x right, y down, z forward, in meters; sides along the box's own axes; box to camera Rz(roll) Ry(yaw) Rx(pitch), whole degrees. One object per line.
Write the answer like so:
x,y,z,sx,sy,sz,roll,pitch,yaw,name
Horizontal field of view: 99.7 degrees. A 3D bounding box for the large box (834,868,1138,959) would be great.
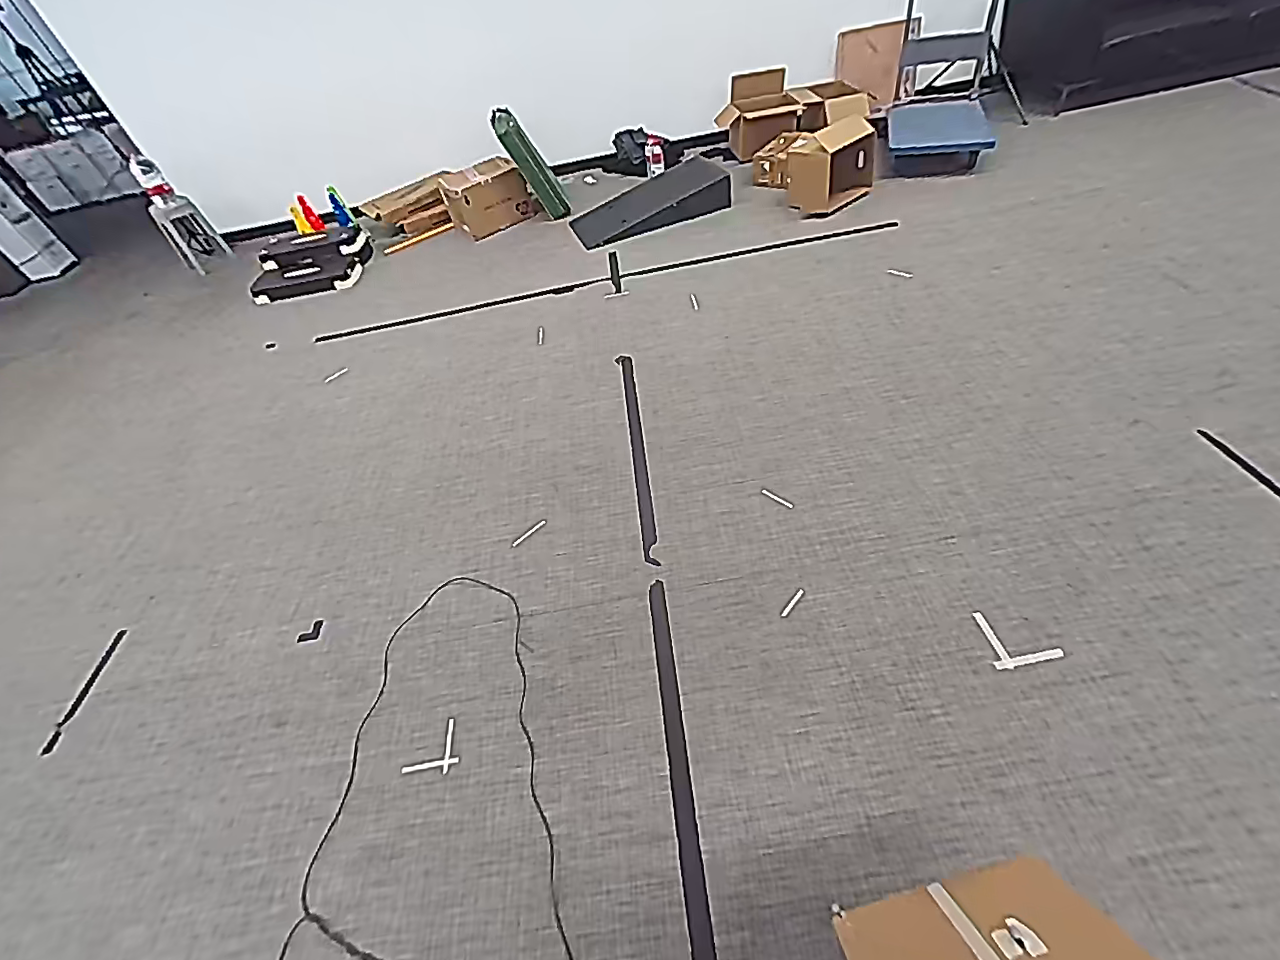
0.466,0.728,0.578,0.320,0.408,0.320,-17,81,1,large box
